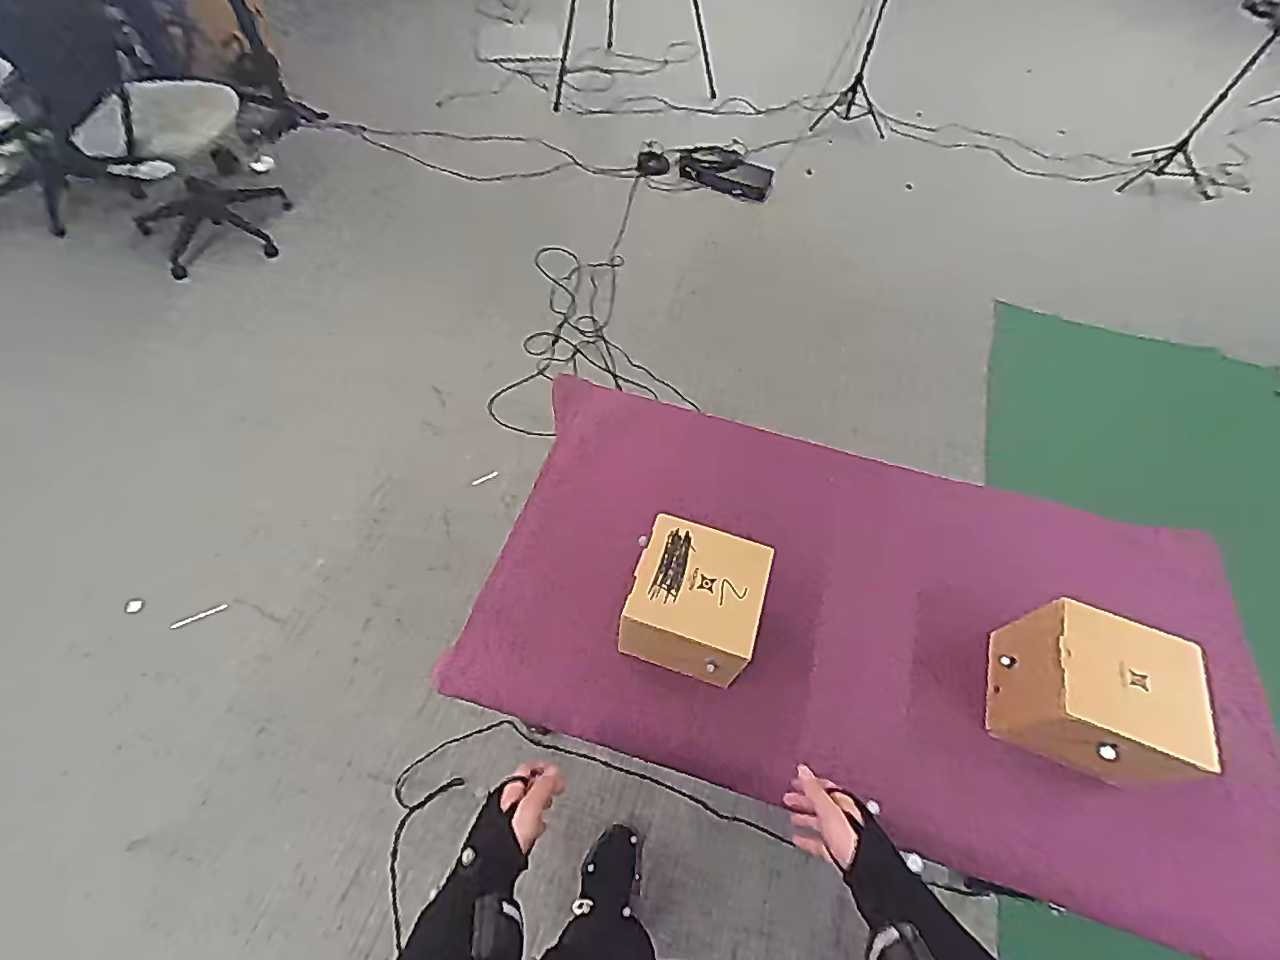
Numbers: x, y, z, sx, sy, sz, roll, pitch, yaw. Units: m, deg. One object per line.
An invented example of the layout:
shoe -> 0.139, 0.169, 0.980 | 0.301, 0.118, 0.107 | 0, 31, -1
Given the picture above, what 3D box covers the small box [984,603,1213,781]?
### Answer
small box -> 0.627, 0.303, 0.761 | 0.179, 0.176, 0.168 | 20, 59, 10
